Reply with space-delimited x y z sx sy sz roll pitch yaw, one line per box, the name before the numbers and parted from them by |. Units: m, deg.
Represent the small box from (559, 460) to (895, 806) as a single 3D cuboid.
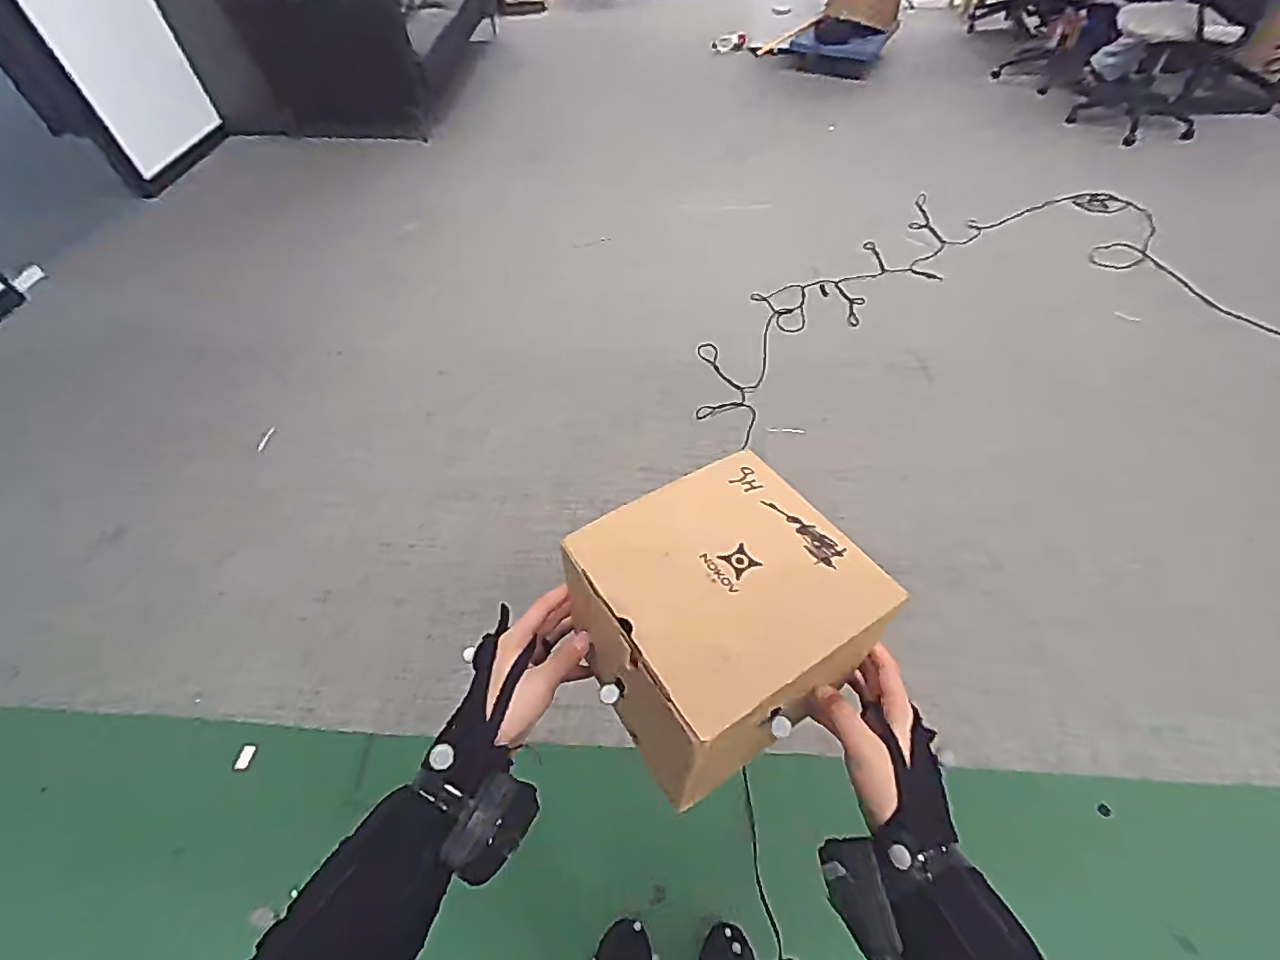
small box | 0.057 0.121 0.431 0.179 0.176 0.168 -25 53 -22
